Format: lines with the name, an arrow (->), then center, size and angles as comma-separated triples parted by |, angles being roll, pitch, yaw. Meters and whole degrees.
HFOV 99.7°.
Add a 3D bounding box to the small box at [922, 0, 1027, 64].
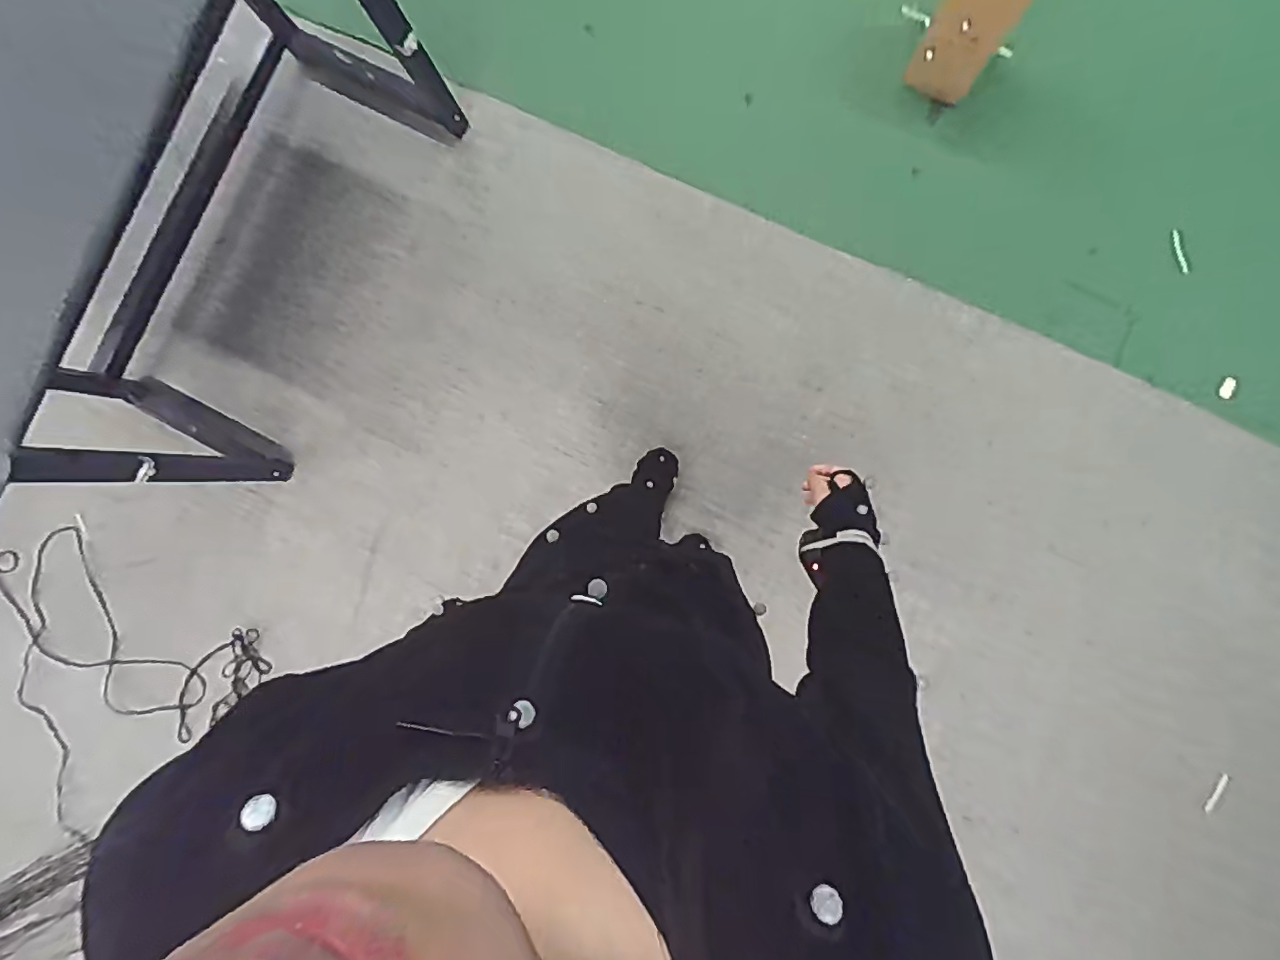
small box -> 0.777, -1.109, 1.222 | 0.168, 0.176, 0.179 | 25, 90, 3
